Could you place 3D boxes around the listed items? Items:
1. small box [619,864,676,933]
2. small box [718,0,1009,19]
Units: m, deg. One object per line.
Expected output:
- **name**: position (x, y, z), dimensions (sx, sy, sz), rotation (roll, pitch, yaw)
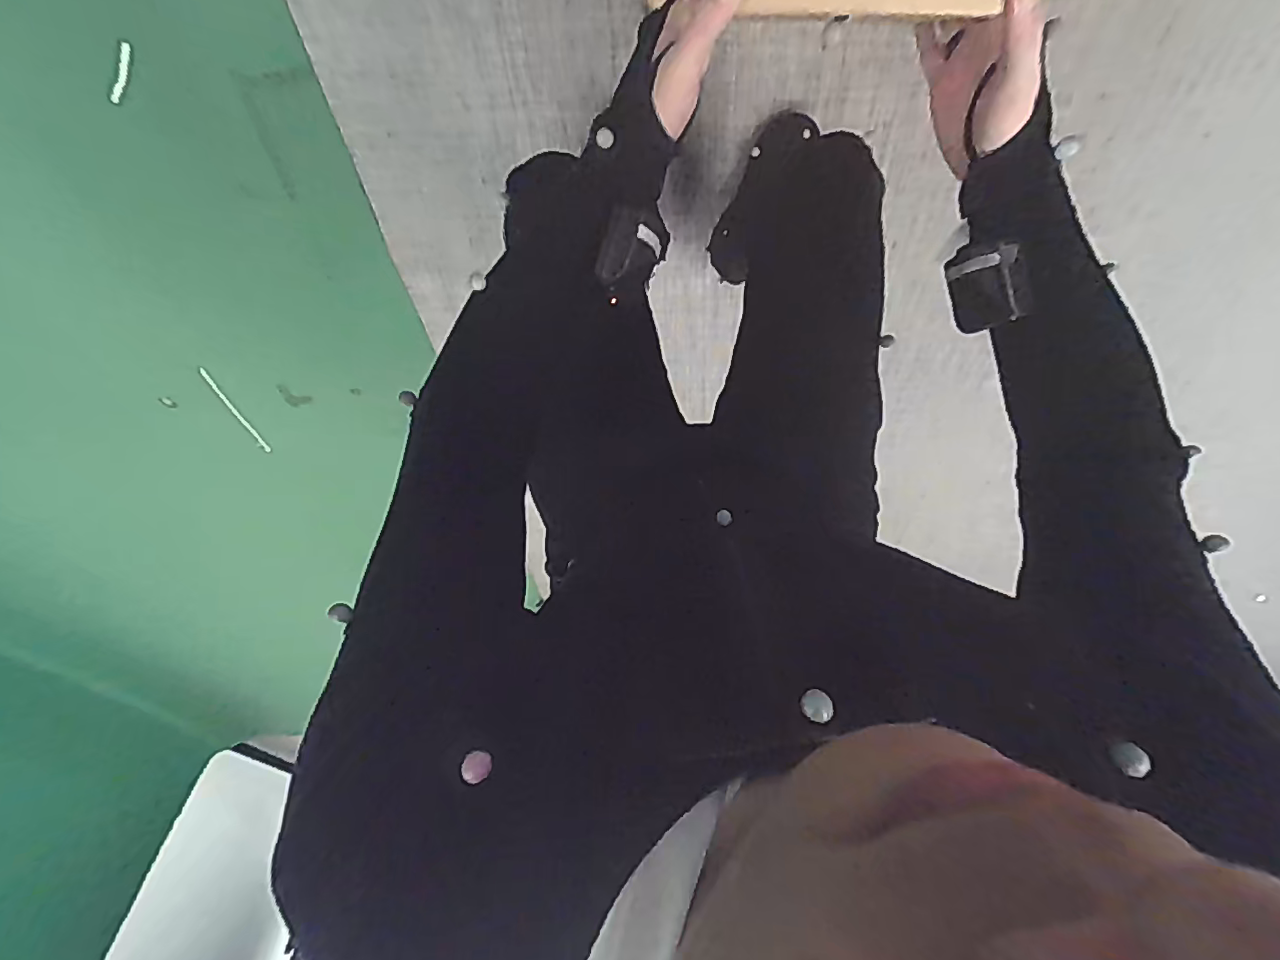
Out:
- **small box**: position (0.025, 1.360, 1.758), dimensions (0.179, 0.176, 0.168), rotation (4, 139, 1)
- **small box**: position (0.146, -0.406, 0.345), dimensions (0.179, 0.176, 0.168), rotation (3, 131, 3)
